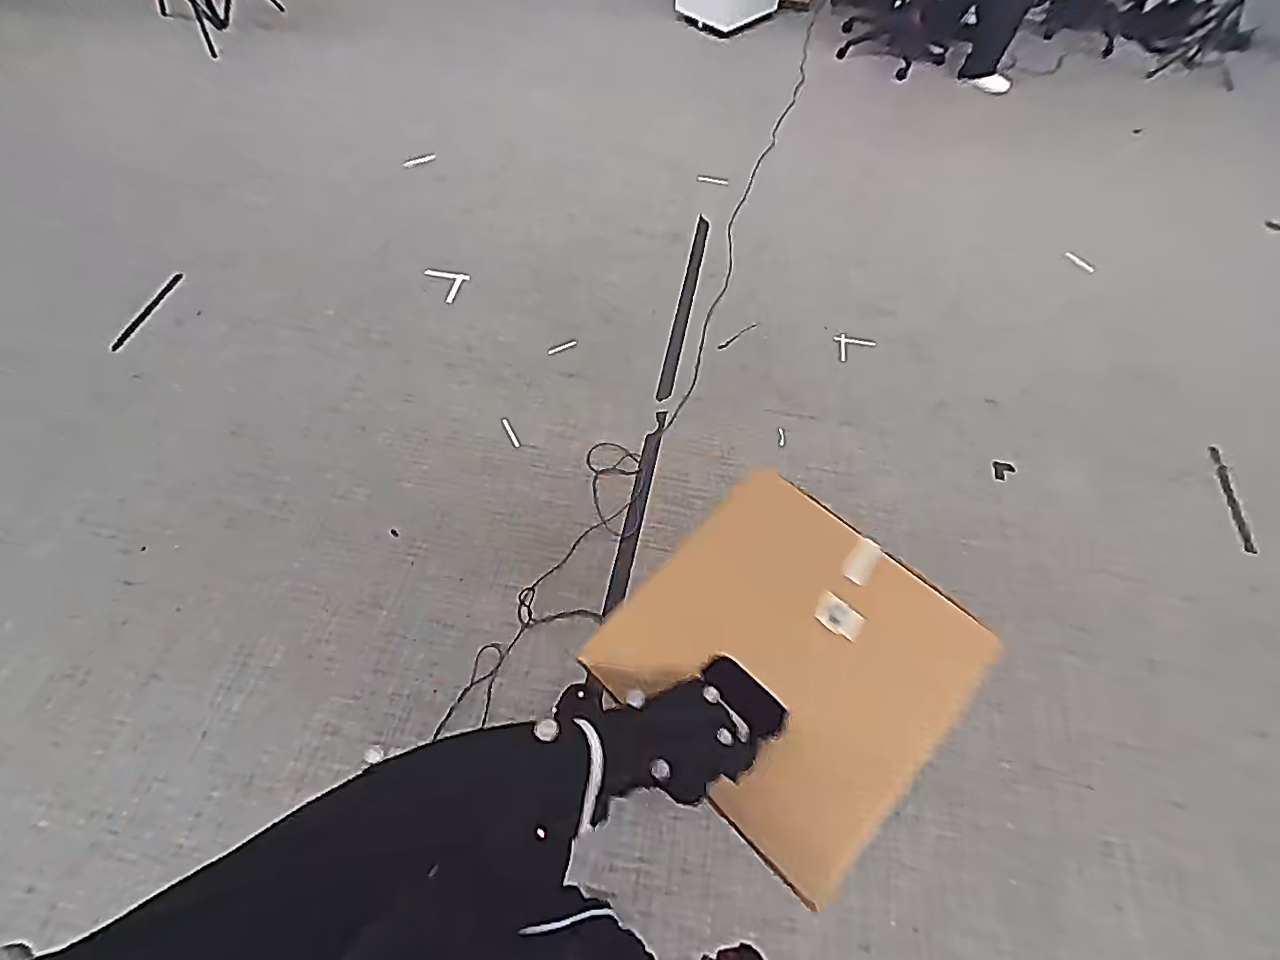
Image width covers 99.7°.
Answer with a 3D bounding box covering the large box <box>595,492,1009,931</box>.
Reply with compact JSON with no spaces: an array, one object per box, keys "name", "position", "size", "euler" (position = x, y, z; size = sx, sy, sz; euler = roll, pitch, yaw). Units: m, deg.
[{"name":"large box","position":[0.185,0.284,0.726],"size":[0.320,0.408,0.320],"euler":[-42,66,-13]}]
